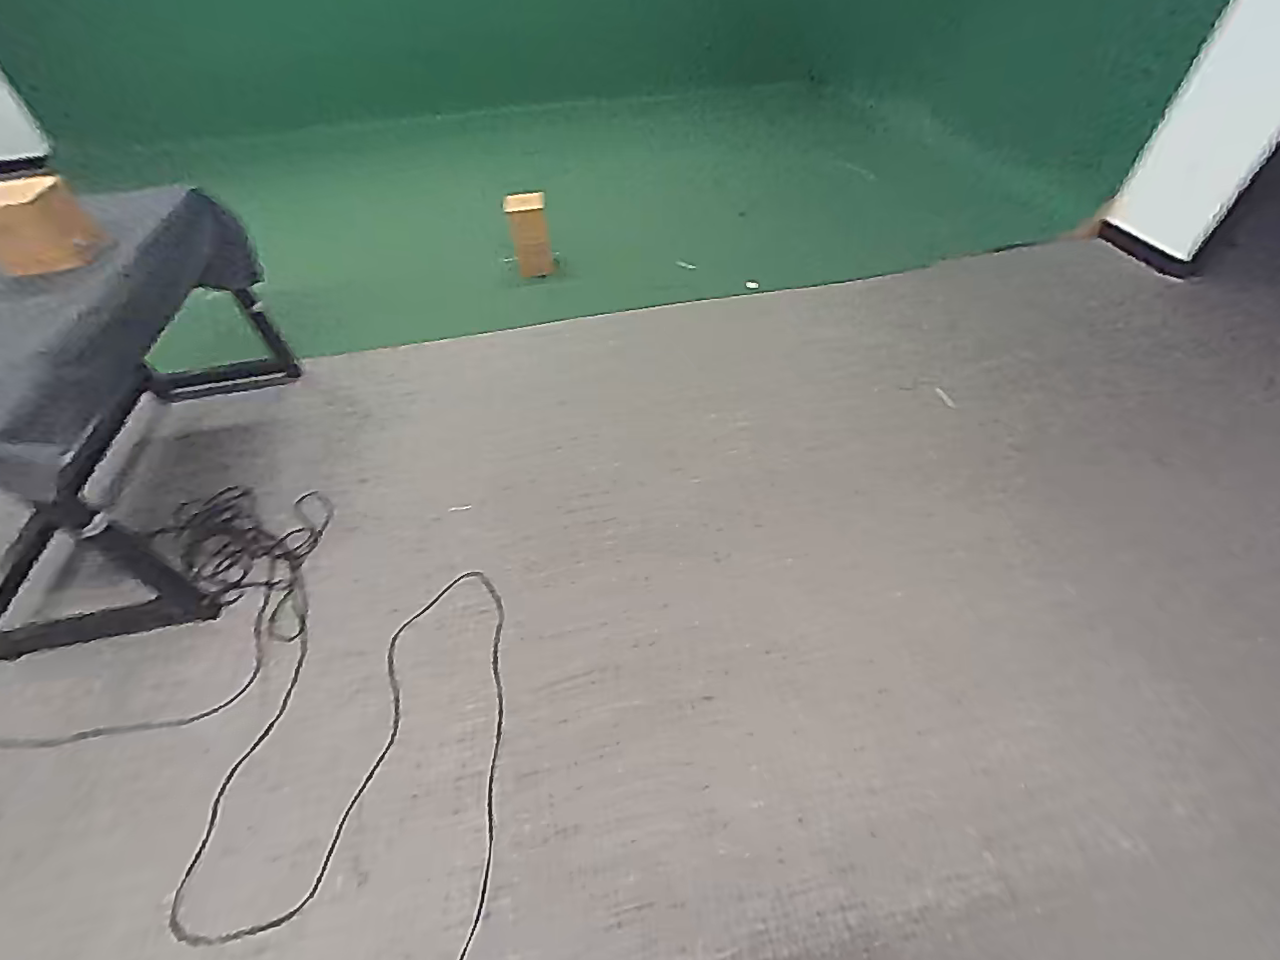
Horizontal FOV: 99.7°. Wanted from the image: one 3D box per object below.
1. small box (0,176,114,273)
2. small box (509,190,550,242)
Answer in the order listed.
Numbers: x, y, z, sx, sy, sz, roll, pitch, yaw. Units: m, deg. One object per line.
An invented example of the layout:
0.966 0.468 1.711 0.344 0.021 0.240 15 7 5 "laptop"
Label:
-1.524 -0.646 1.375 0.179 0.176 0.168 -9 51 -5 "small box"
-0.525 -1.254 2.577 0.168 0.176 0.179 -9 50 -4 "small box"
